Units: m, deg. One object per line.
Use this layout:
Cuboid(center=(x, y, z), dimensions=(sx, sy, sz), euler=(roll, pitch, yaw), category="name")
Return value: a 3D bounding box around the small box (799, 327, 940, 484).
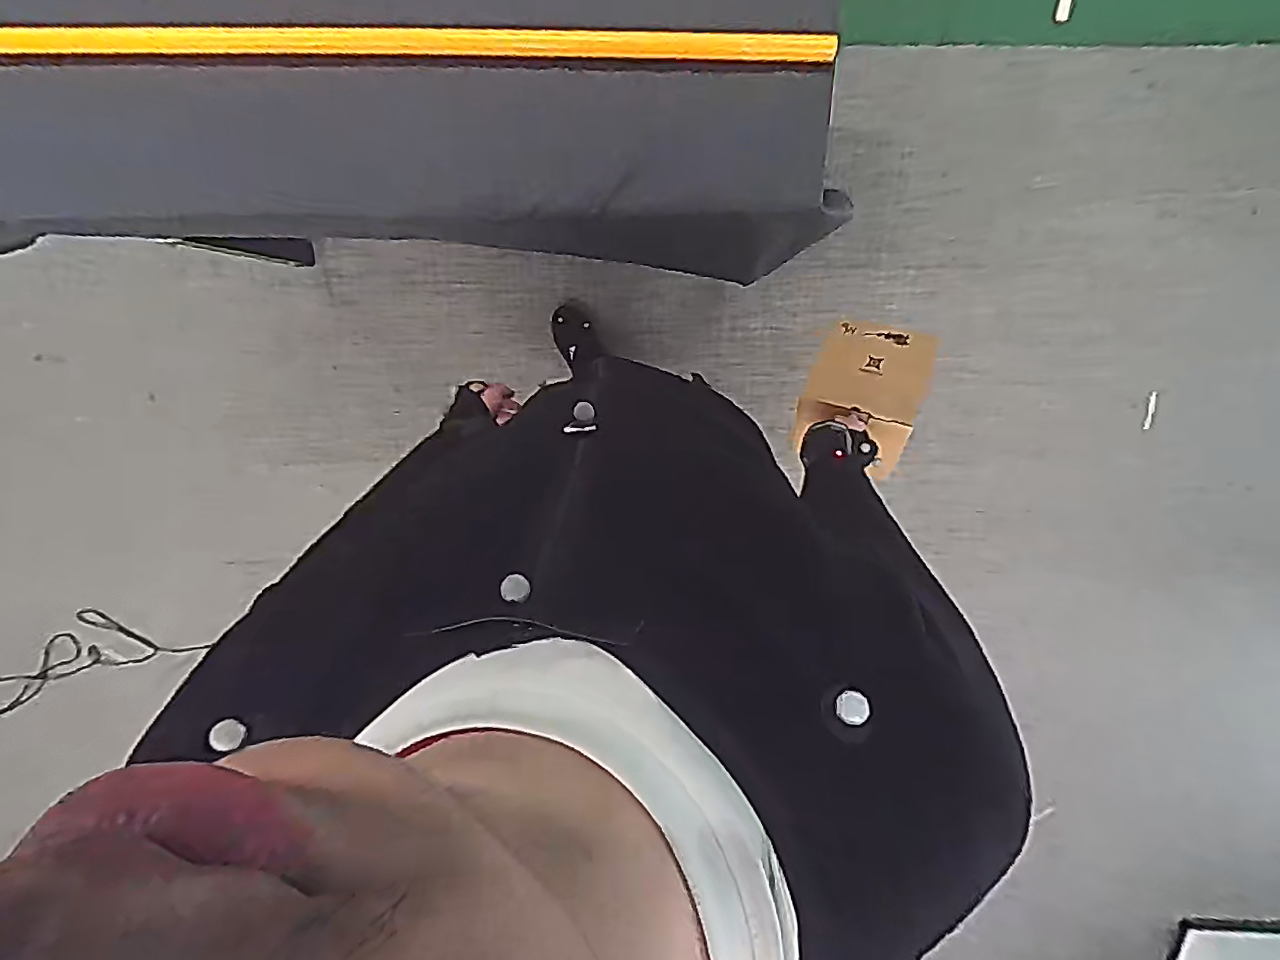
Cuboid(center=(0.369, -0.119, 0.896), dimensions=(0.168, 0.176, 0.179), euler=(18, 66, 20), category="small box")
